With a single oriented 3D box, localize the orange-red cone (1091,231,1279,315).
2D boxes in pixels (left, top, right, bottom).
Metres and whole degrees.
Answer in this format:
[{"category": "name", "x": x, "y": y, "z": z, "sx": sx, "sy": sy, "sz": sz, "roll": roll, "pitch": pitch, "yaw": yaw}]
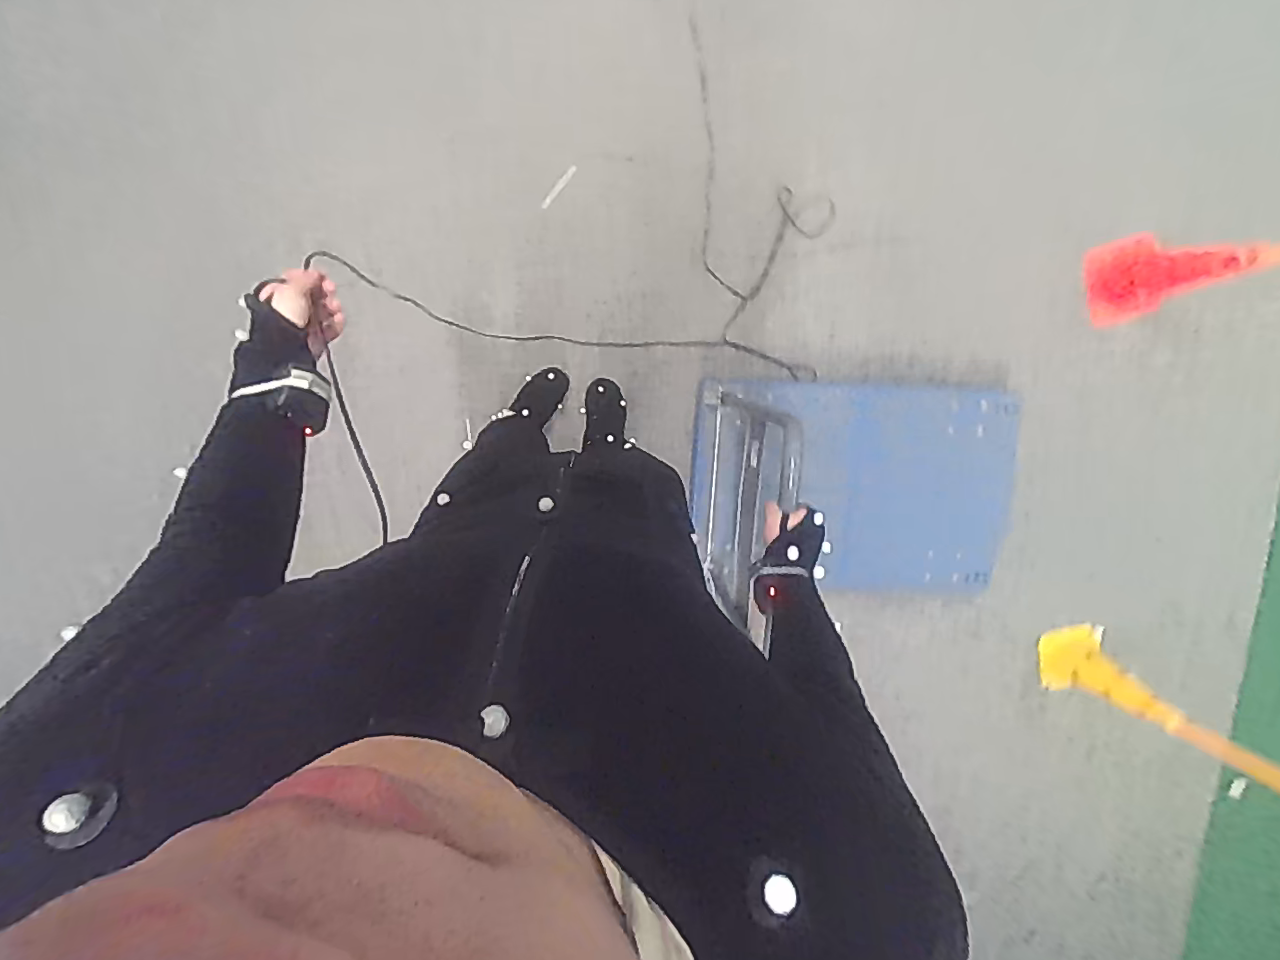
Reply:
[{"category": "orange-red cone", "x": 1.391, "y": -0.554, "z": 1.368, "sx": 0.198, "sy": 0.360, "sz": 0.199, "roll": -17, "pitch": 101, "yaw": 2}]
